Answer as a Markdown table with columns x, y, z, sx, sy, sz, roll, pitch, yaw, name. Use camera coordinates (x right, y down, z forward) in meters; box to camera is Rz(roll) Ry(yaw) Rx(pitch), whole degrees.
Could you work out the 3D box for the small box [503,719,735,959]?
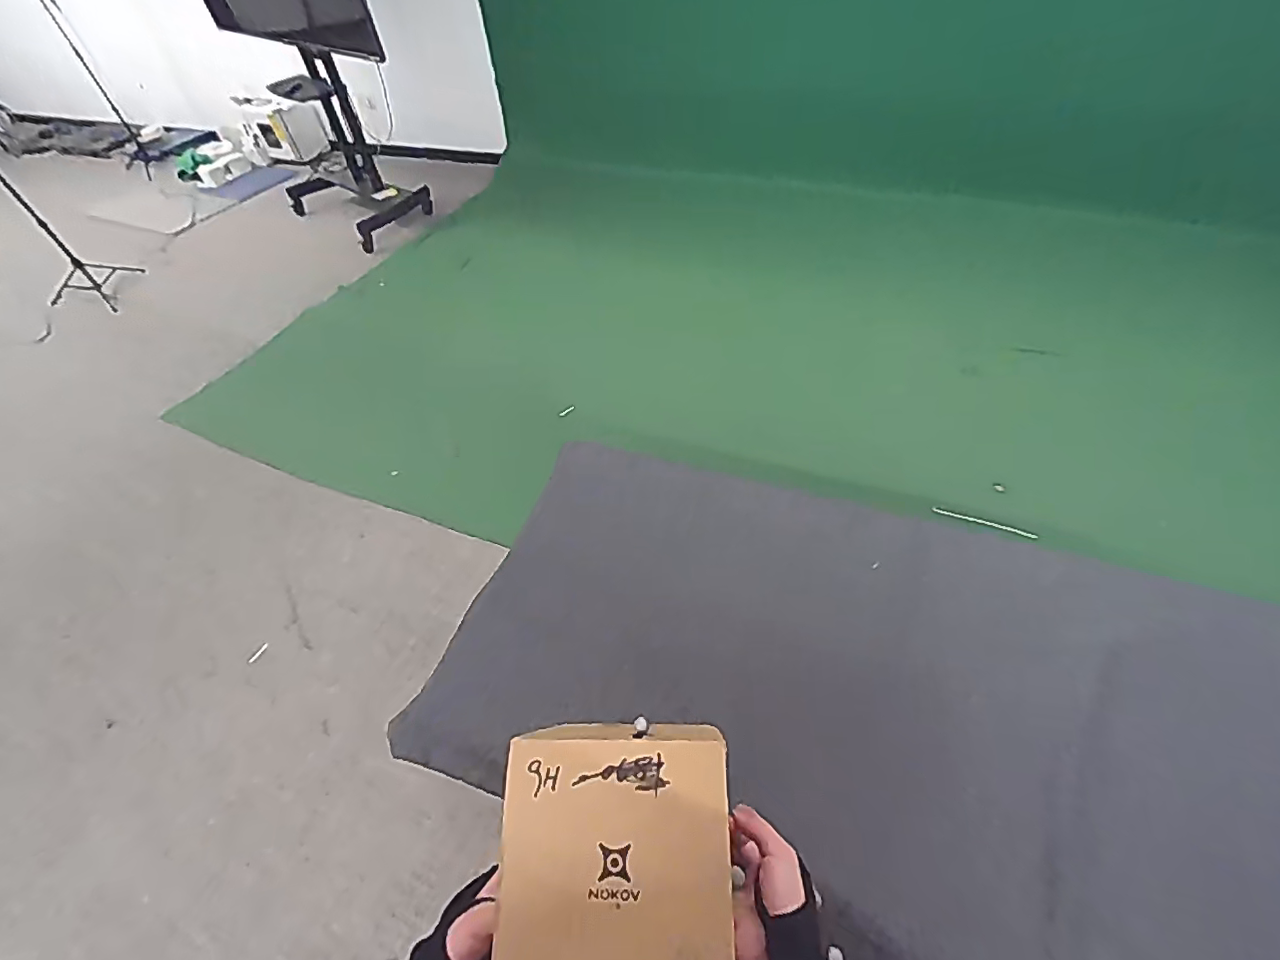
| x | y | z | sx | sy | sz | roll | pitch | yaw | name |
| --- | --- | --- | --- | --- | --- | --- | --- | --- | --- |
| -0.007 | 0.310 | 0.465 | 0.168 | 0.176 | 0.179 | -1 | 71 | 4 | small box |
